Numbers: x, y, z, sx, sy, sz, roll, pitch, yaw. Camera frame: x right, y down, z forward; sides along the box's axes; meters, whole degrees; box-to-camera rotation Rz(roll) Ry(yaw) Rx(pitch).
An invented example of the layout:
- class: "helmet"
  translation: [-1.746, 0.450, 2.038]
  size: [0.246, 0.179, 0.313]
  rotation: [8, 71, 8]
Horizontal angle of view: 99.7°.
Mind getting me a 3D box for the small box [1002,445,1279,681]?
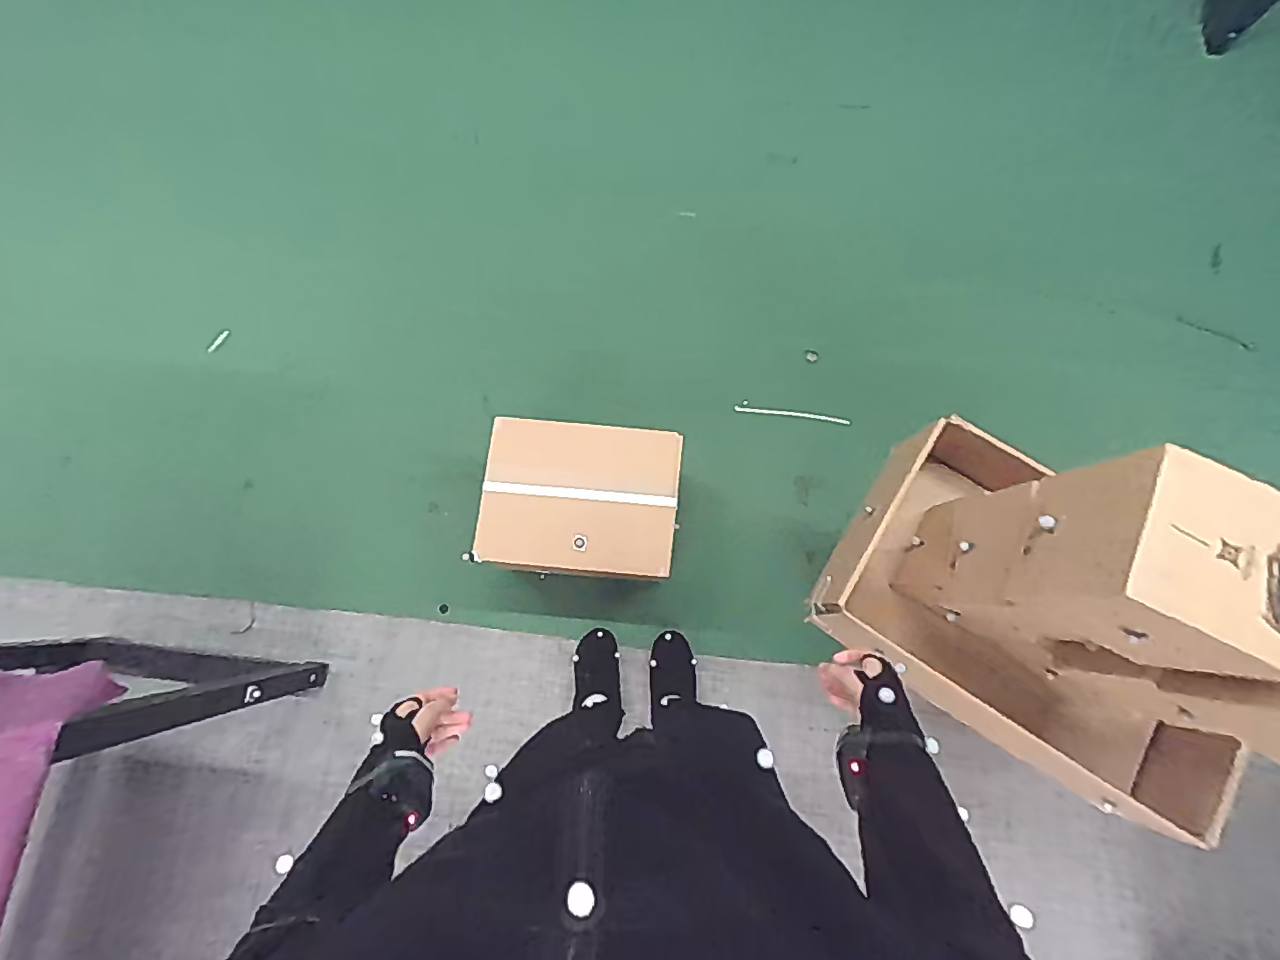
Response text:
- class: "small box"
  translation: [0.543, 0.090, 0.578]
  size: [0.179, 0.176, 0.168]
  rotation: [26, 77, 6]
